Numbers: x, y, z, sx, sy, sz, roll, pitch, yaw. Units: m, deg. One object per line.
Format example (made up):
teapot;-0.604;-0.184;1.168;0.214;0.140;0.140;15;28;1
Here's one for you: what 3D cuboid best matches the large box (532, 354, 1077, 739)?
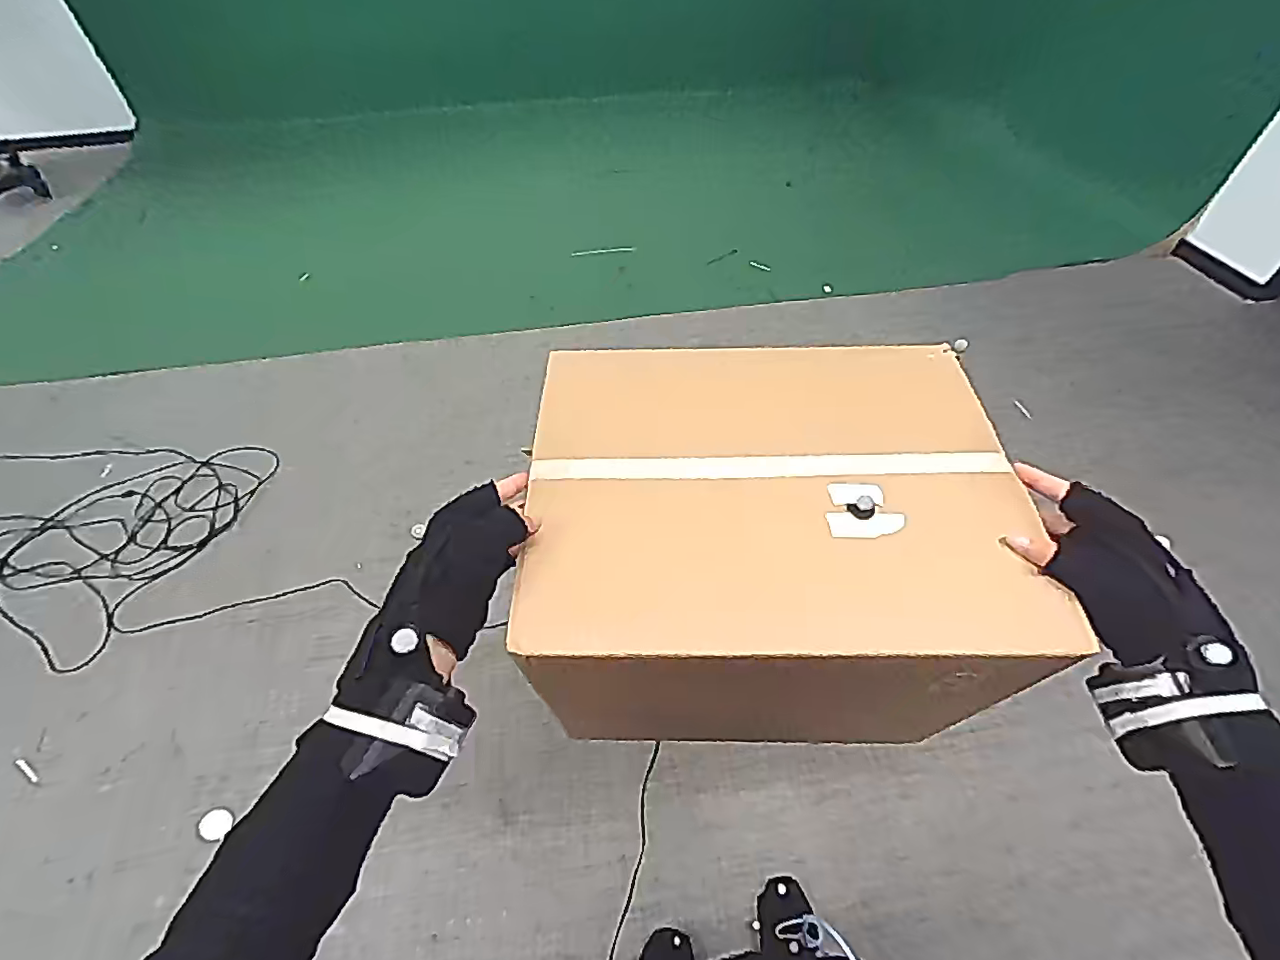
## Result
large box;0.117;0.084;0.594;0.408;0.320;0.320;-1;55;1
